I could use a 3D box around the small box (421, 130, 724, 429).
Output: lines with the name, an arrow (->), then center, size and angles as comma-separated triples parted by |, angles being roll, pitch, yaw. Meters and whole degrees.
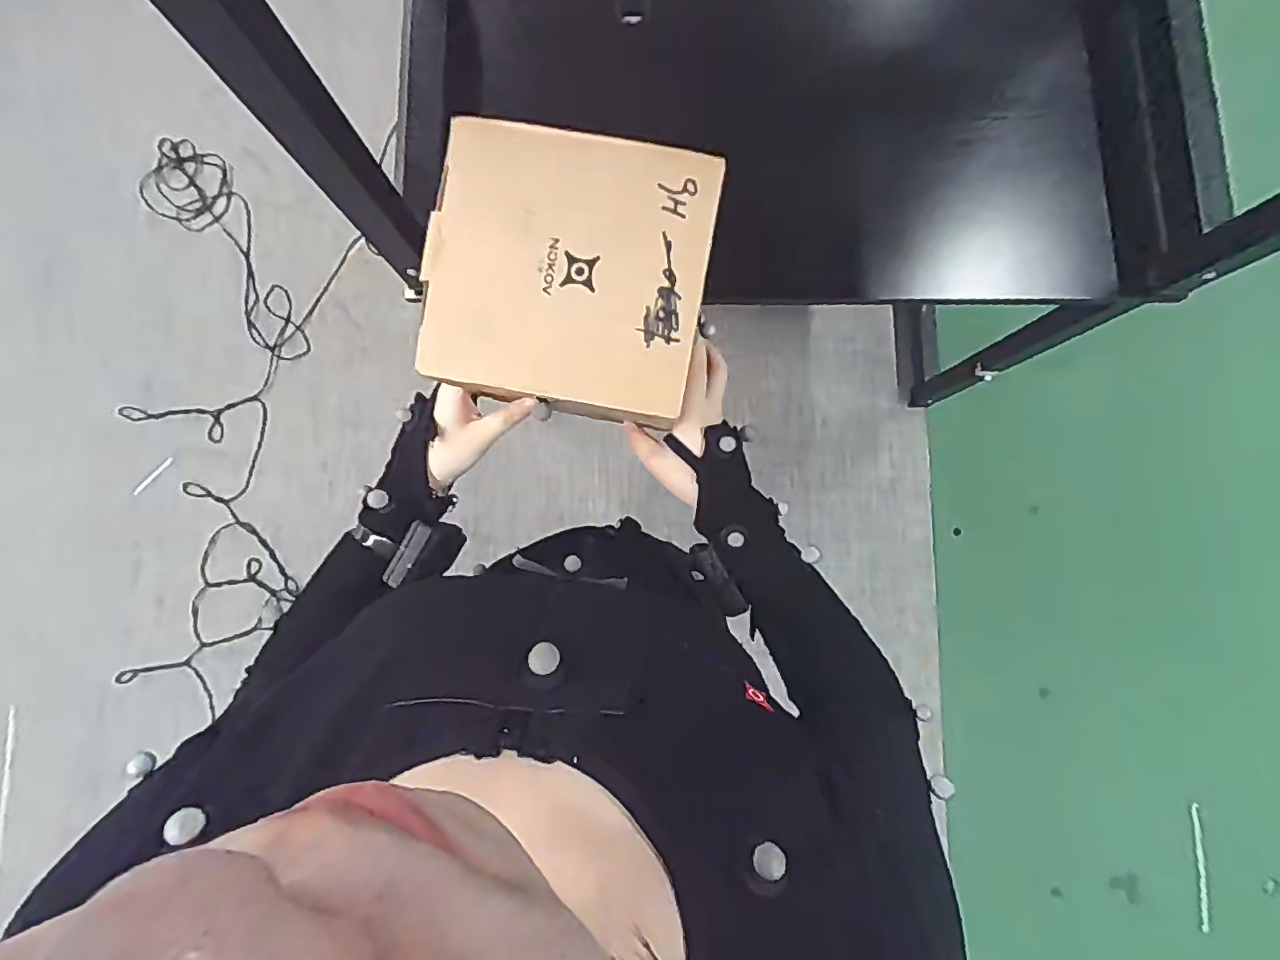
small box -> -0.042, -0.135, 0.428 | 0.179, 0.176, 0.168 | 10, 94, 2
